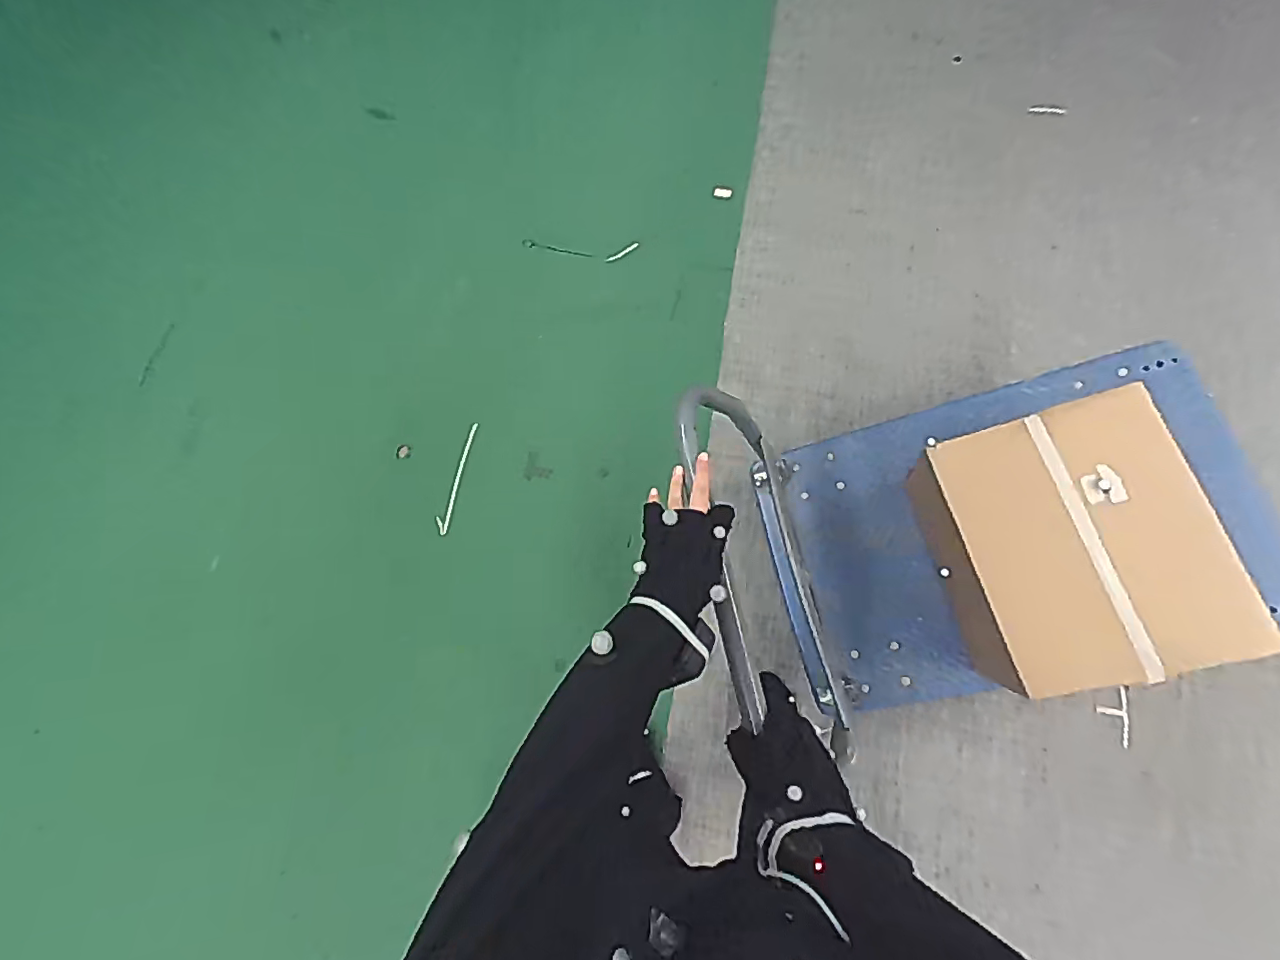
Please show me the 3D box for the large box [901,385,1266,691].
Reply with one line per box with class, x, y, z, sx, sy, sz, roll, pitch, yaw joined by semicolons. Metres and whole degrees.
large box;0.700;0.112;0.950;0.320;0.320;0.408;-19;72;15
